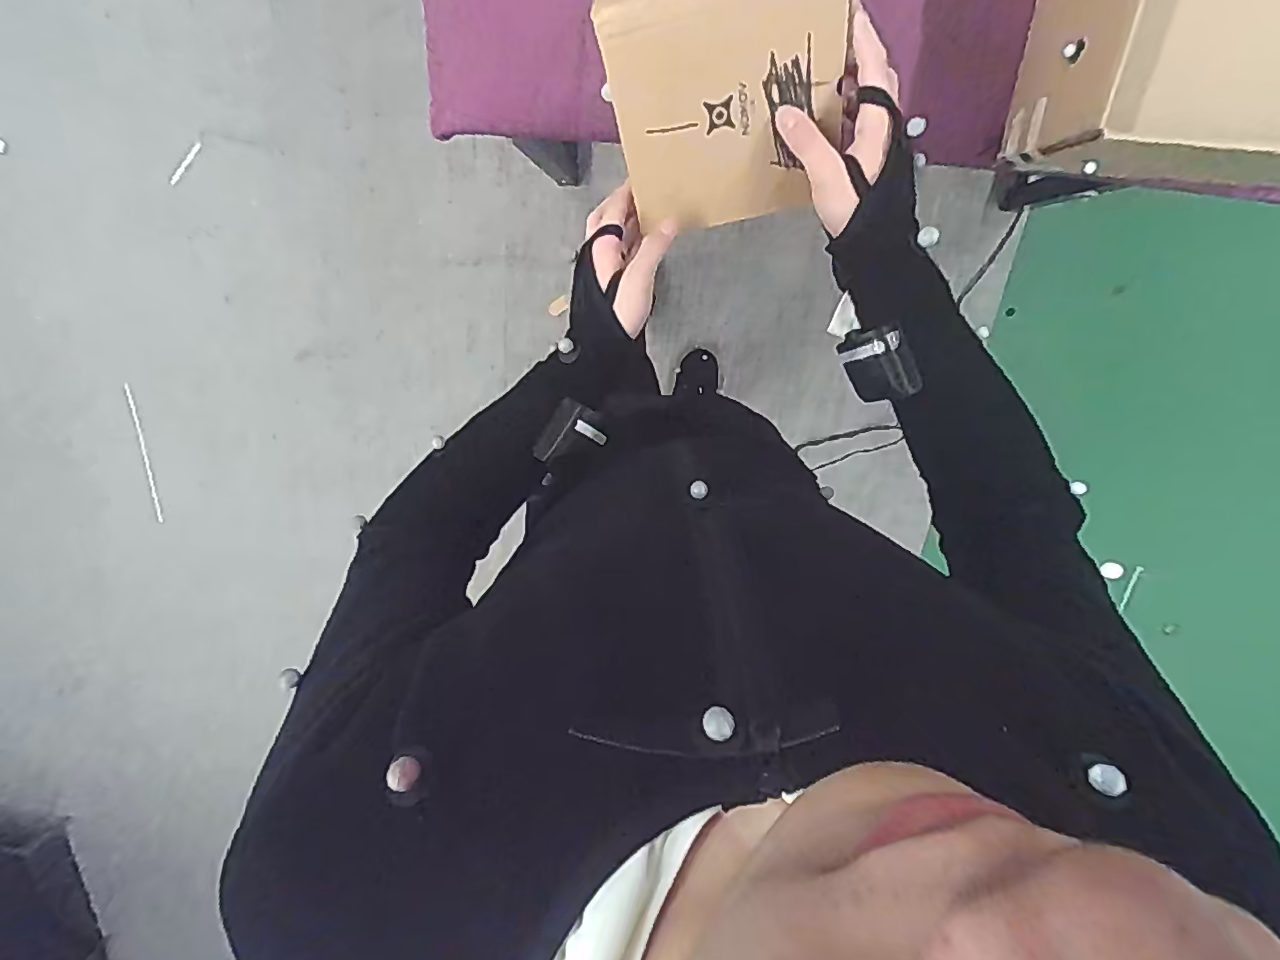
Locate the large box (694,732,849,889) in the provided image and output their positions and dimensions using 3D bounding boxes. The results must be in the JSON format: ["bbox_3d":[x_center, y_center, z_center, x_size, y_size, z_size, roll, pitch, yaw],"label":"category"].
[{"bbox_3d":[0.435,1.159,1.871,0.408,0.320,0.320,-26,106,11],"label":"large box"}]
